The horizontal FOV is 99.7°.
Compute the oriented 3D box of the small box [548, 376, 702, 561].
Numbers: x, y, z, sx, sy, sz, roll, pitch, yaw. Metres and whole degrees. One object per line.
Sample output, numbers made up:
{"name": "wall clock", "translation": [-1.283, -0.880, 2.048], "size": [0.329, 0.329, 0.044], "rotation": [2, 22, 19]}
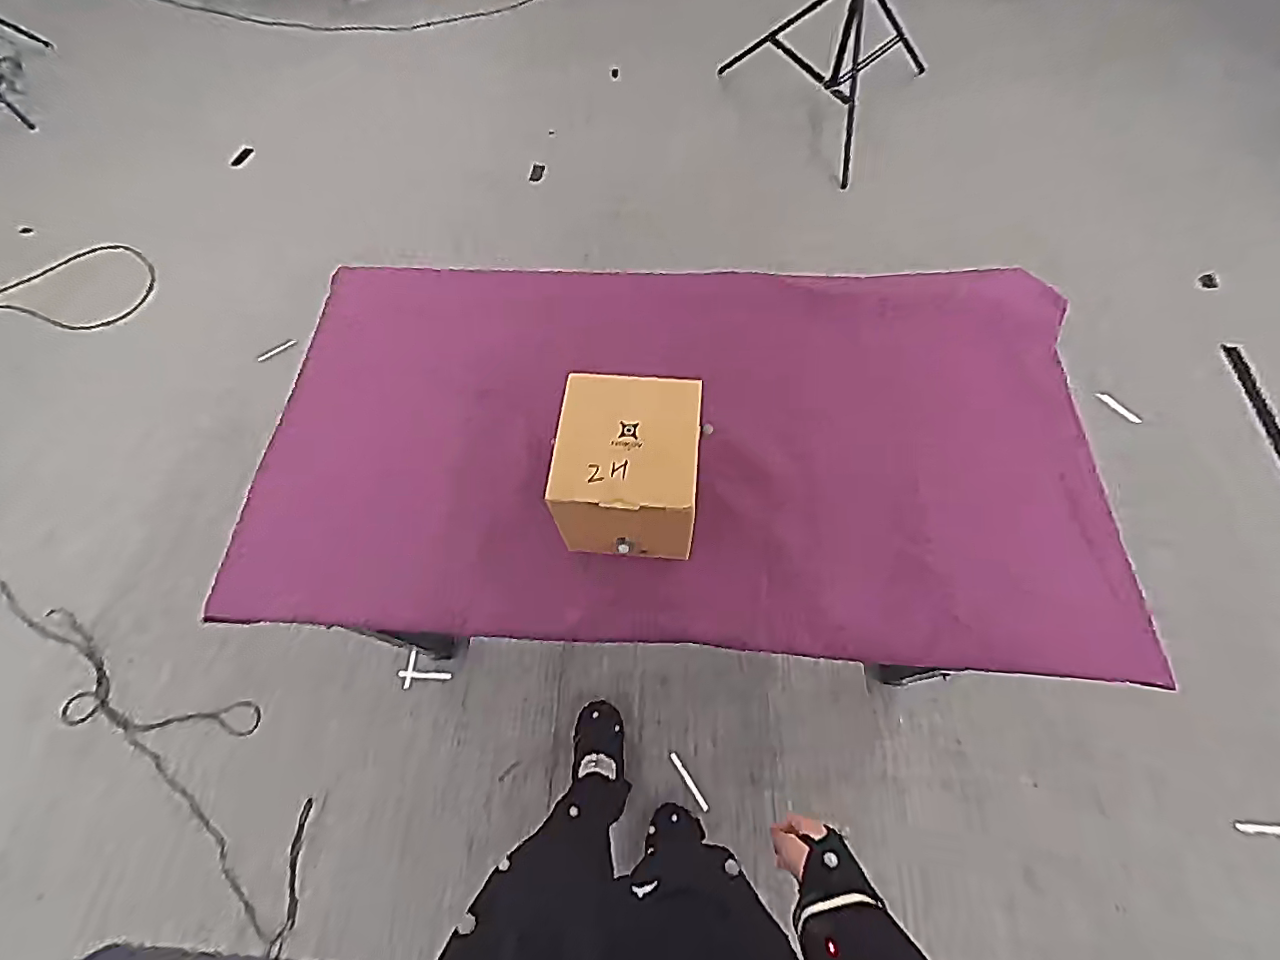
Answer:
{"name": "small box", "translation": [-0.012, -0.010, 0.699], "size": [0.168, 0.176, 0.179], "rotation": [4, 64, 4]}
